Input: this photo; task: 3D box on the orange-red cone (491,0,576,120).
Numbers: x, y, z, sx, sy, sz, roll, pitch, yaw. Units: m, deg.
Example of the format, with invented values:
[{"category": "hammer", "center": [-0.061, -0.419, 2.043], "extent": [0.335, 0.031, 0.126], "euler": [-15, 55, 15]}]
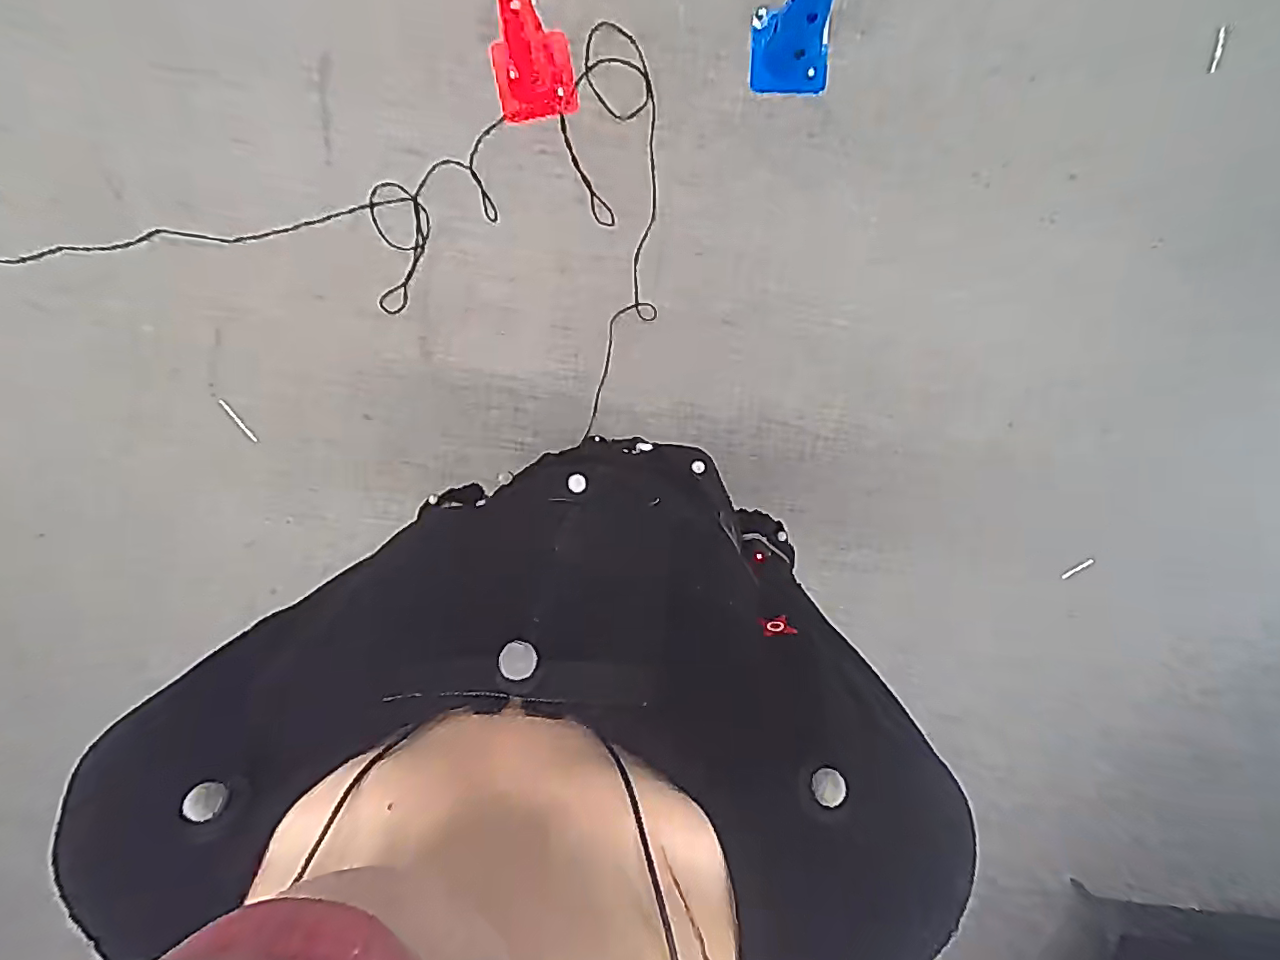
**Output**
[{"category": "orange-red cone", "center": [-0.268, -1.019, 1.213], "extent": [0.198, 0.360, 0.199], "euler": [-11, 95, -1]}]
